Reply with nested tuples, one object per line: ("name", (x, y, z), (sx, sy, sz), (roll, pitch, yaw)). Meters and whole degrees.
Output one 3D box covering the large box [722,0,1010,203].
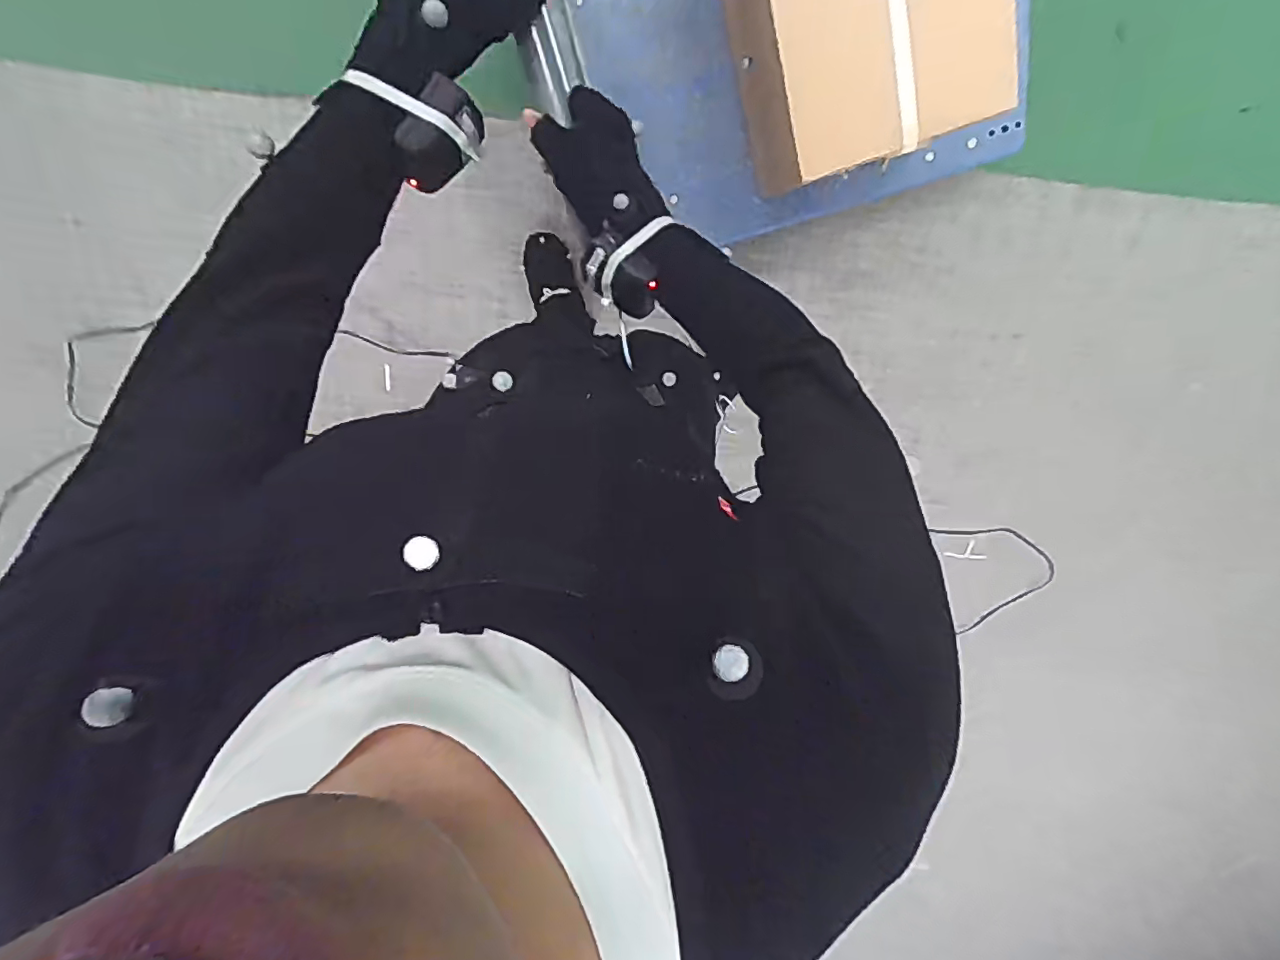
("large box", (0.332, -0.718, 0.867), (0.320, 0.320, 0.408), (-16, 112, 7))
